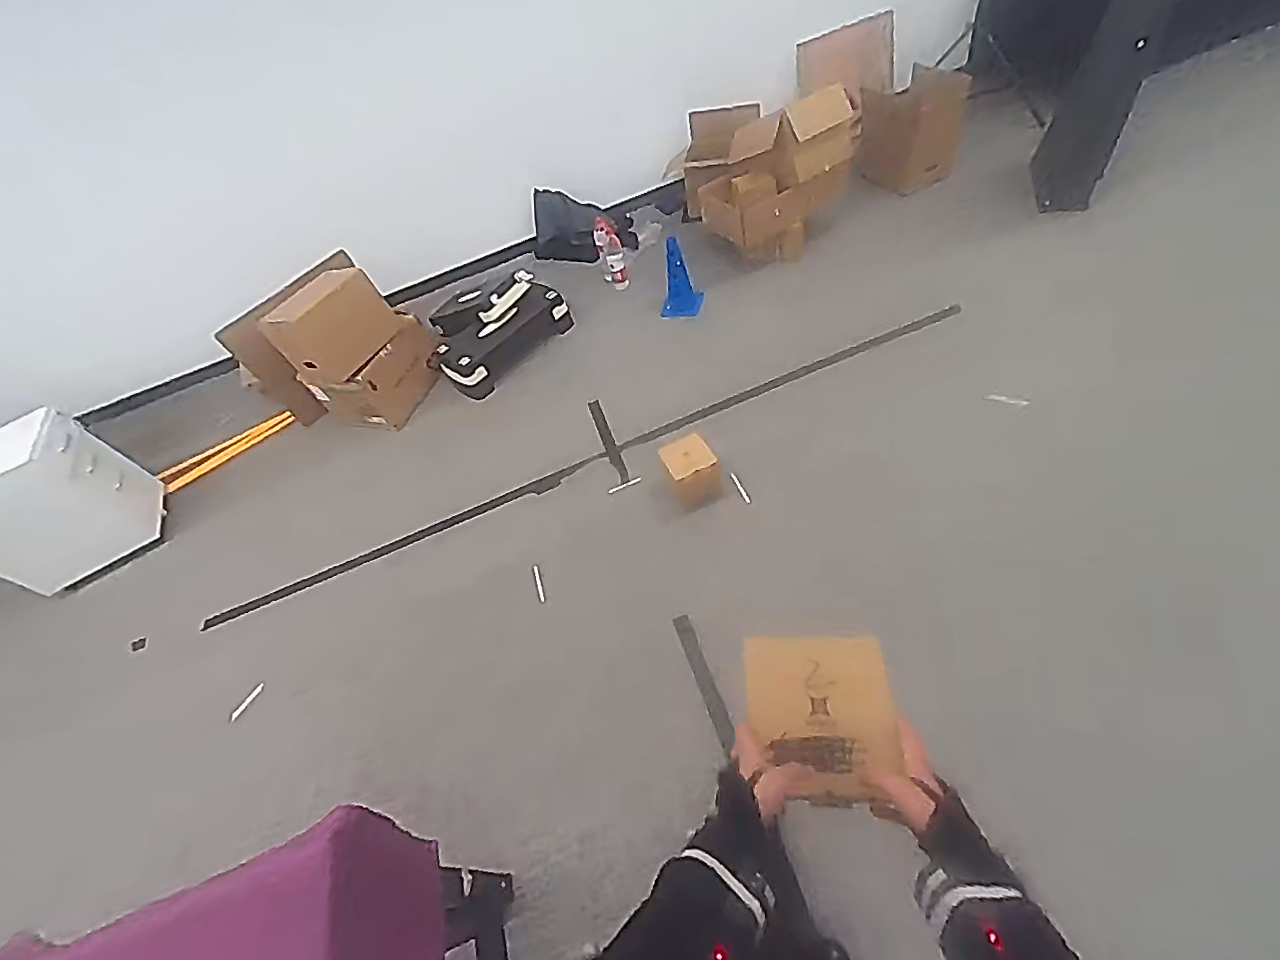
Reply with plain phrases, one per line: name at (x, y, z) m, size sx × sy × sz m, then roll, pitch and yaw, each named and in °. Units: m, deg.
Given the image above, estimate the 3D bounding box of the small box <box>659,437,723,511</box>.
small box at (0.187, -0.019, 1.966) m, size 0.168 × 0.176 × 0.179 m, roll -25°, pitch 51°, yaw -4°
